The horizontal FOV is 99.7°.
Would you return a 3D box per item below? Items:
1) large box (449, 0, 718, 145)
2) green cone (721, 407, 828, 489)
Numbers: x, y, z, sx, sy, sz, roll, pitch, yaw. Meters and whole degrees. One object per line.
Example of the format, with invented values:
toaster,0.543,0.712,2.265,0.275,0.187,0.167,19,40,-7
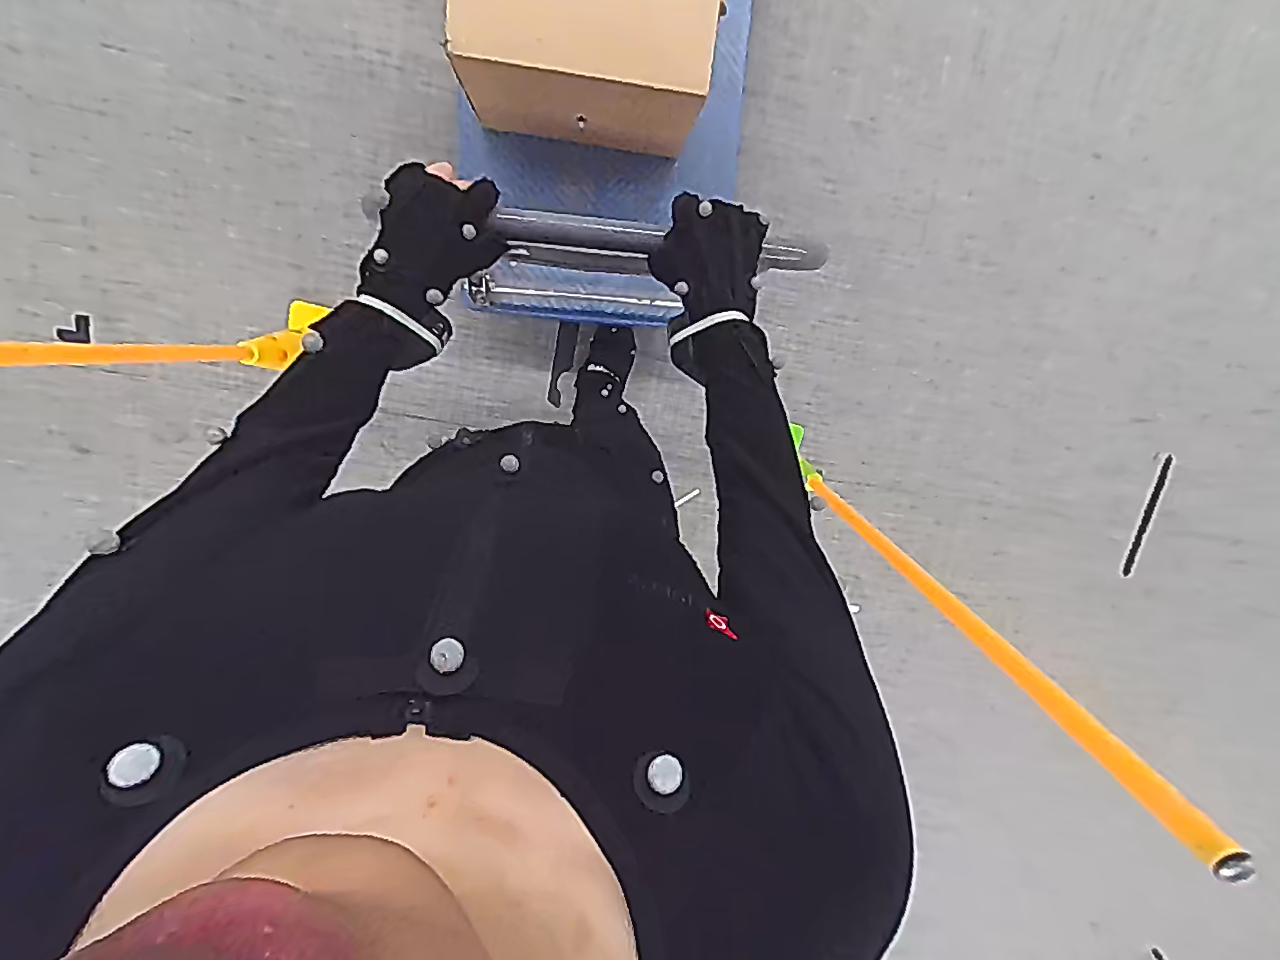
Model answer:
large box,-0.086,-0.816,0.934,0.408,0.320,0.320,5,105,-6
green cone,0.357,-0.043,1.327,0.202,0.368,0.200,13,103,-10
